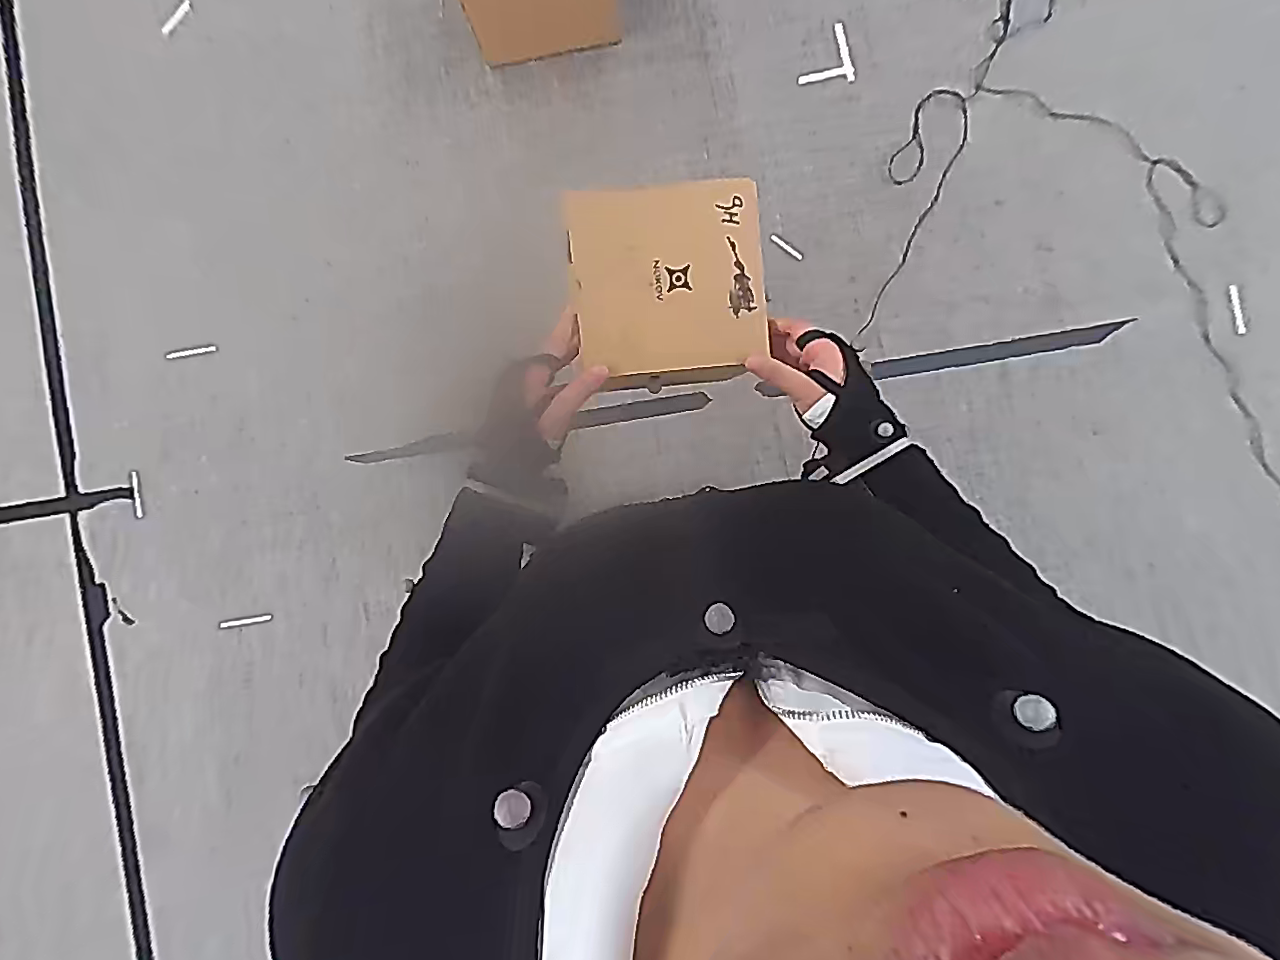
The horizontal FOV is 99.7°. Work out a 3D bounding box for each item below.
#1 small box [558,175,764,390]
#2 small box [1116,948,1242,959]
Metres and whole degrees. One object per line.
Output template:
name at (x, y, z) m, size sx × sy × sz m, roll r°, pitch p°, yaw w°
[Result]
small box at (0.018, -0.190, 0.568) m, size 0.179 × 0.176 × 0.168 m, roll -6°, pitch 95°, yaw -2°
small box at (0.733, 0.722, 0.659) m, size 0.168 × 0.176 × 0.179 m, roll -13°, pitch 89°, yaw 3°
